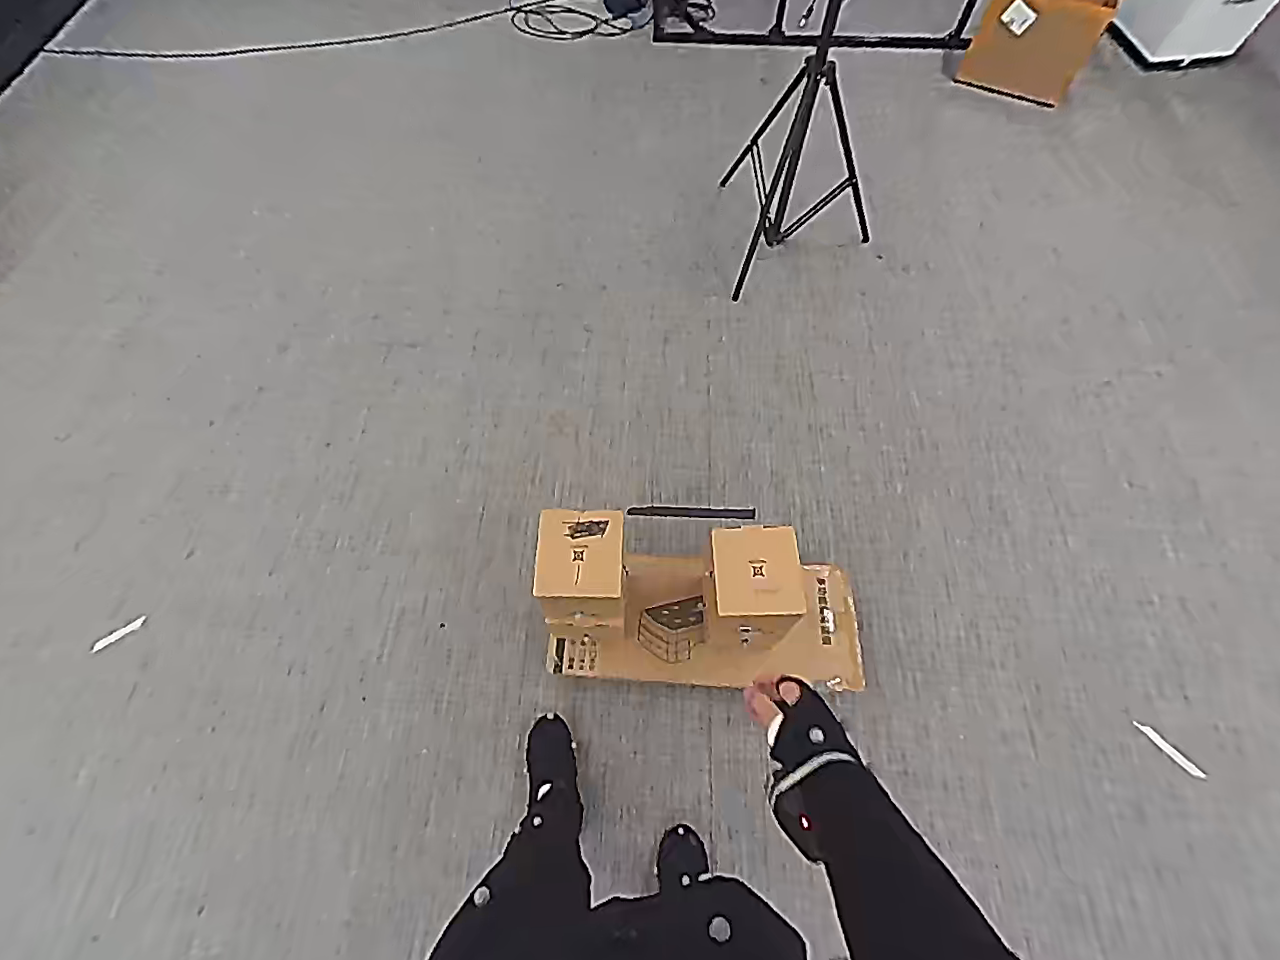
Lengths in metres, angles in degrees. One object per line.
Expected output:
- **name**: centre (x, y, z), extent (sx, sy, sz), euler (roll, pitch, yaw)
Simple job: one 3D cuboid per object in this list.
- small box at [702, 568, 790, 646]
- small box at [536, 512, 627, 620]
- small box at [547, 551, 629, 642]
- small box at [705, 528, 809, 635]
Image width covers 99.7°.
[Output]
- **small box**: centre (0.236, 0.283, 1.243), extent (0.168, 0.176, 0.179), euler (0, 64, -1)
- **small box**: centre (-0.113, 0.179, 1.108), extent (0.168, 0.176, 0.179), euler (1, 64, 0)
- **small box**: centre (-0.113, 0.267, 1.247), extent (0.168, 0.176, 0.179), euler (2, 64, 1)
- **small box**: centre (0.226, 0.209, 1.098), extent (0.168, 0.176, 0.179), euler (-2, 64, 0)
